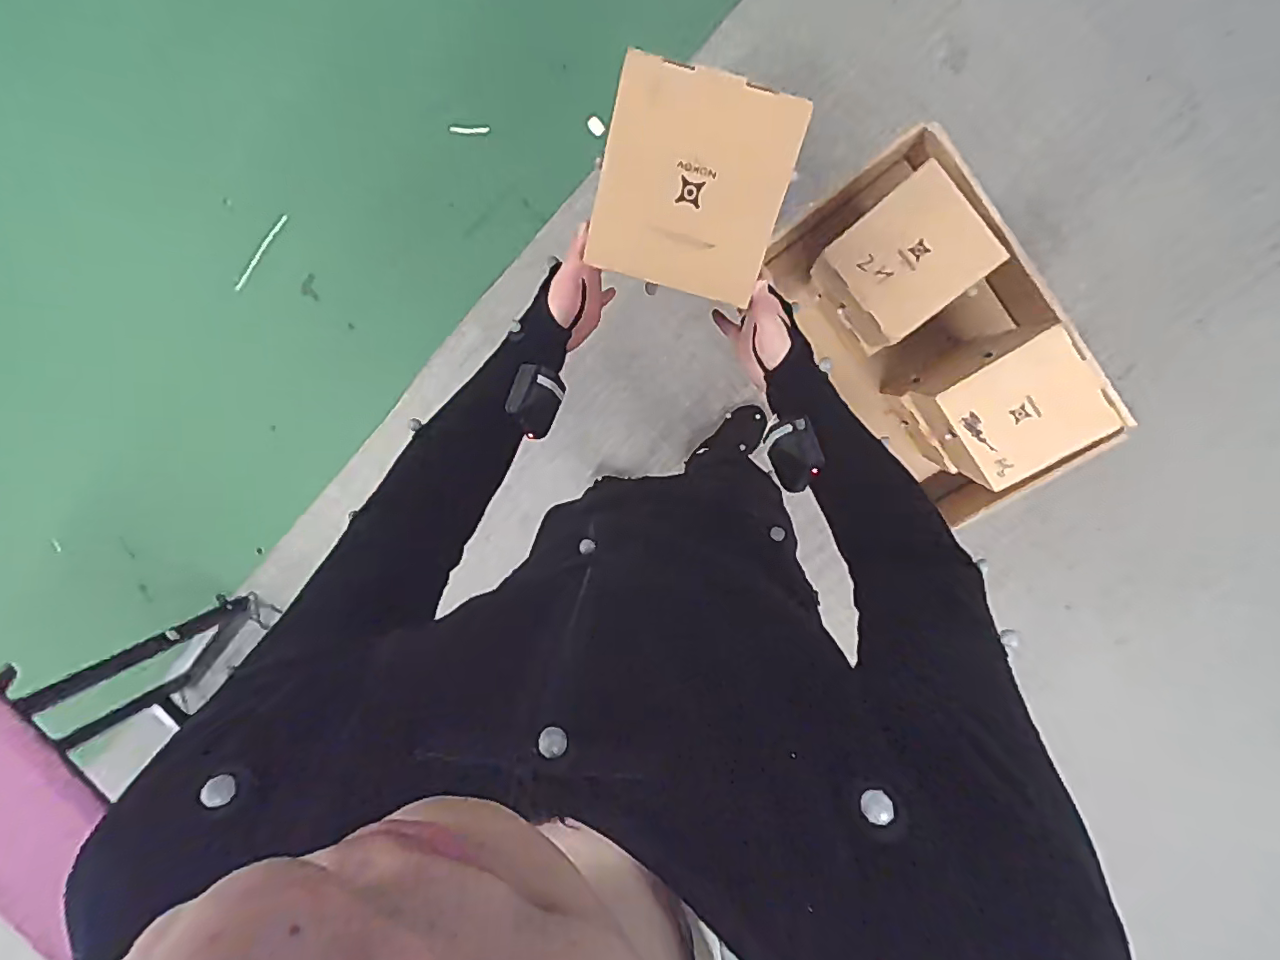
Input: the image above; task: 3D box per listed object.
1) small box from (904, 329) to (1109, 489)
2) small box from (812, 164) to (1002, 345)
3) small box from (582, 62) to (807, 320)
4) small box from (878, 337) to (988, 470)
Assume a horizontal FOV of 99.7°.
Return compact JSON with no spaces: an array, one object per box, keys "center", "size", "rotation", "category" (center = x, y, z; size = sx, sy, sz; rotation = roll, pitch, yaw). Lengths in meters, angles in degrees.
[{"center":[0.544,-0.114,0.831],"size":[0.179,0.176,0.168],"rotation":[-33,95,17],"category":"small box"},{"center":[0.382,-0.322,0.811],"size":[0.179,0.176,0.168],"rotation":[-38,93,17],"category":"small box"},{"center":[0.048,-0.283,0.561],"size":[0.168,0.176,0.179],"rotation":[15,114,-2],"category":"small box"},{"center":[0.570,-0.147,0.990],"size":[0.179,0.176,0.168],"rotation":[-35,94,18],"category":"small box"}]
